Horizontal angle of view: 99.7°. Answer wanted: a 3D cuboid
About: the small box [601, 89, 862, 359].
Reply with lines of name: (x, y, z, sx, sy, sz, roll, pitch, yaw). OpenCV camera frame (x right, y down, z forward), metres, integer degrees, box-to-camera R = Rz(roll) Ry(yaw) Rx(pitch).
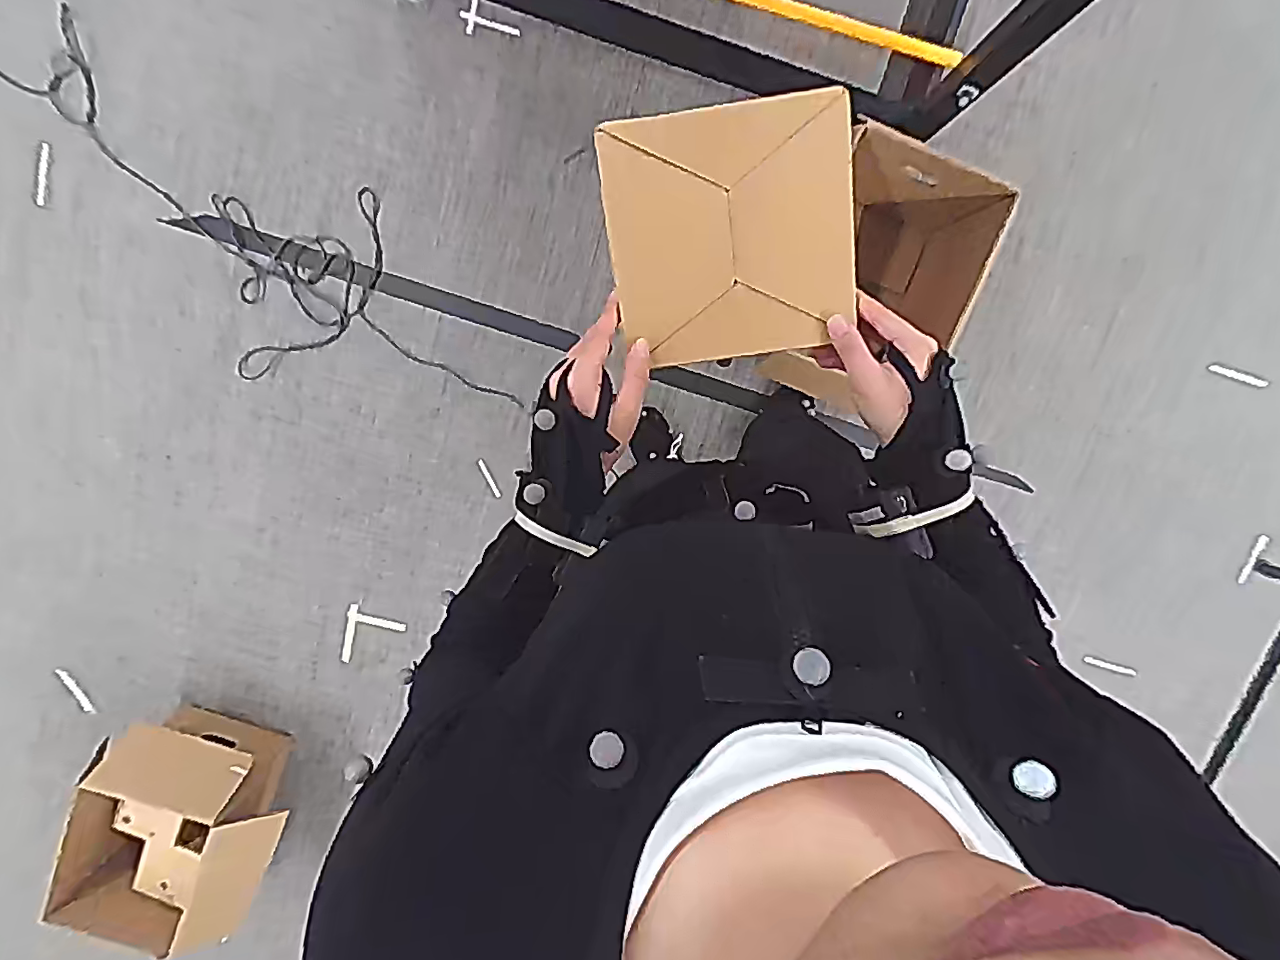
small box: (0.065, -0.198, 0.460, 0.179, 0.176, 0.168, -8, 105, 1)
